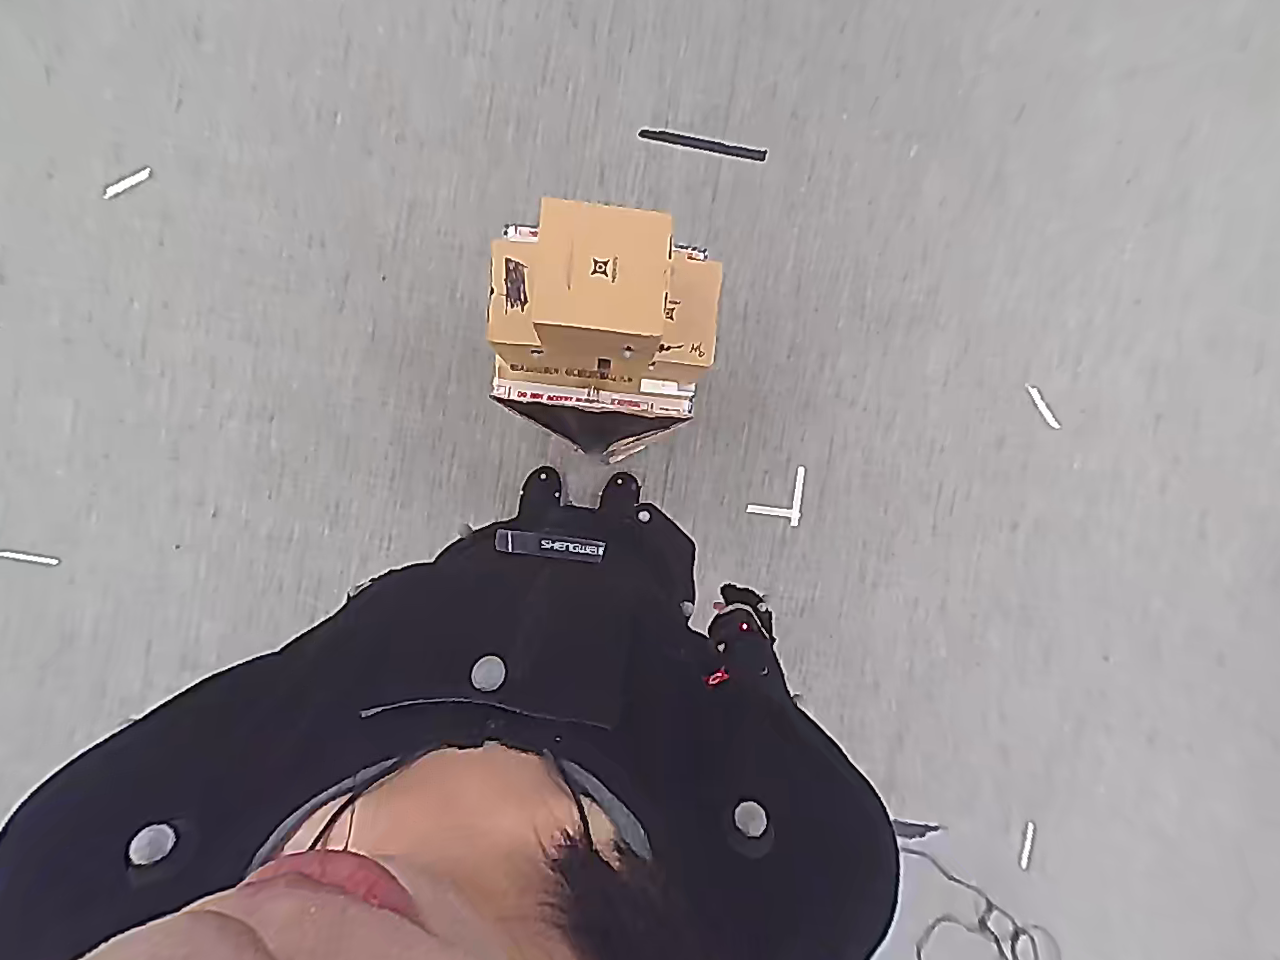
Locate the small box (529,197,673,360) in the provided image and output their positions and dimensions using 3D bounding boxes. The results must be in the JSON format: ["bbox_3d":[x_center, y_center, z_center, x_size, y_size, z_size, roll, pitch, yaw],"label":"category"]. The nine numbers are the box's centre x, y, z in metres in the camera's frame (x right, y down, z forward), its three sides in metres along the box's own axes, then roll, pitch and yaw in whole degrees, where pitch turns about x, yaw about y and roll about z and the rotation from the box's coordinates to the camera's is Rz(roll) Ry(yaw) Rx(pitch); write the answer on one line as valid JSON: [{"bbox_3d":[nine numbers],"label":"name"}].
[{"bbox_3d":[-0.056,-0.275,0.779,0.179,0.176,0.168,4,89,-4],"label":"small box"}]

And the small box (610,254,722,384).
[{"bbox_3d":[0.037,-0.278,0.951,0.168,0.176,0.179,6,89,-6],"label":"small box"}]

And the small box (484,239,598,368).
[{"bbox_3d":[-0.159,-0.295,0.935,0.179,0.176,0.168,3,90,-4],"label":"small box"}]
